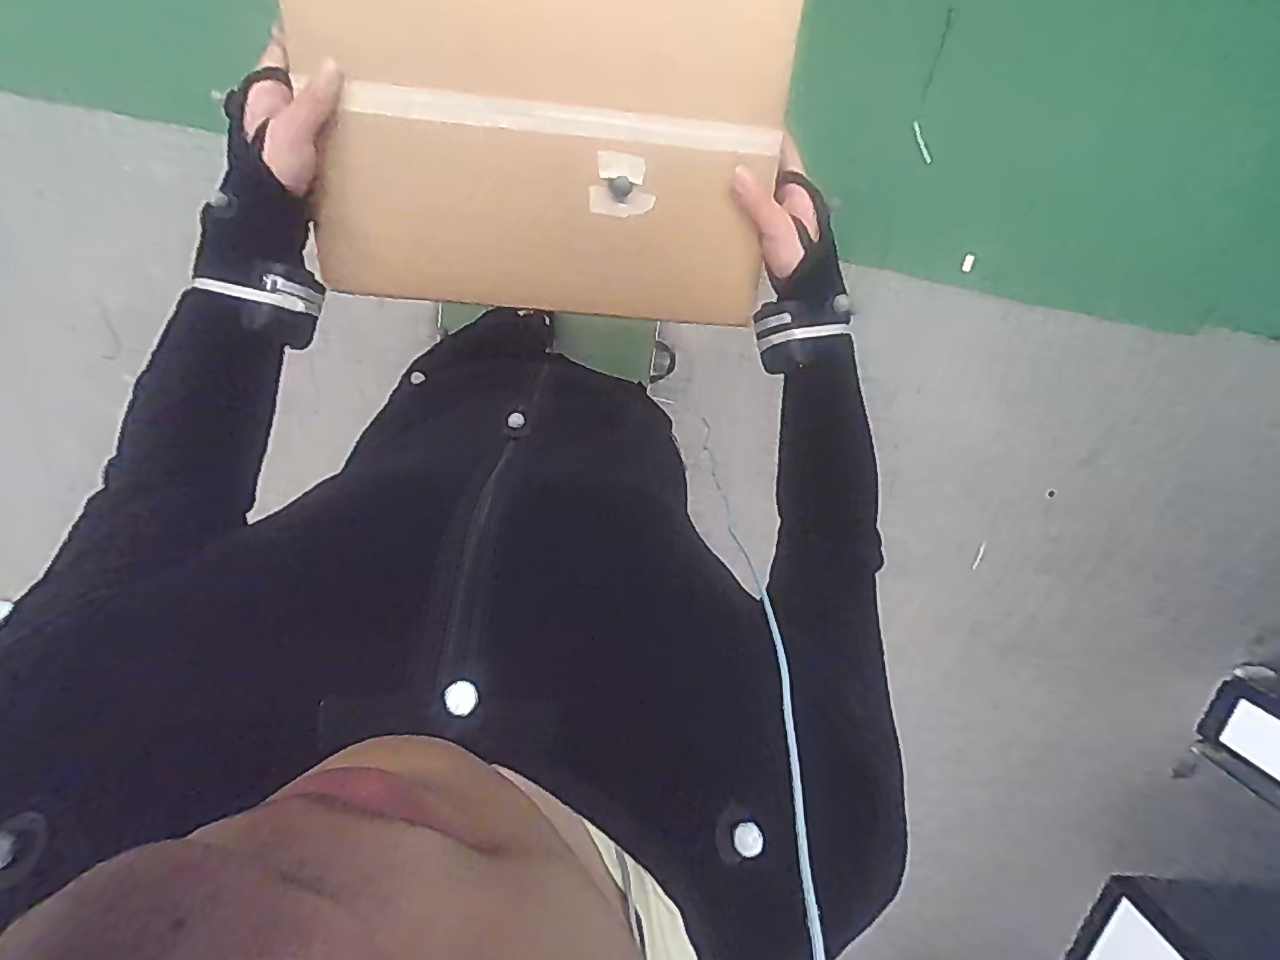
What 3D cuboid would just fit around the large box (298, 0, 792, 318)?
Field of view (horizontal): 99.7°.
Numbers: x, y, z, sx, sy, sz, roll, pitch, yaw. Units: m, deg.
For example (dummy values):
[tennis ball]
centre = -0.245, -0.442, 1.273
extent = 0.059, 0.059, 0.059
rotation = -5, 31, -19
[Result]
[large box]
centre = -0.090, -0.369, 0.606
extent = 0.408, 0.320, 0.320
rotation = 3, 114, -5
